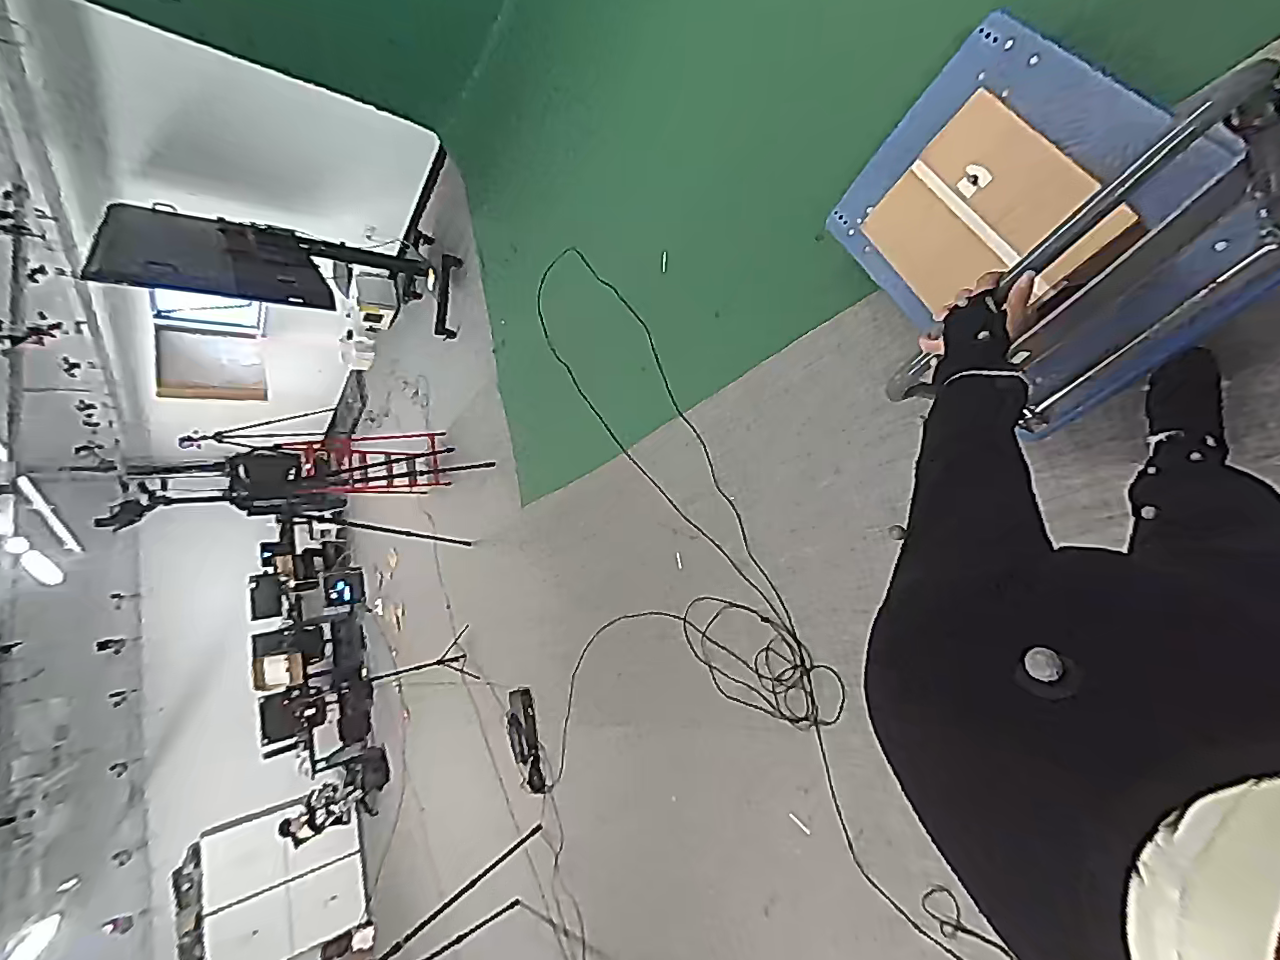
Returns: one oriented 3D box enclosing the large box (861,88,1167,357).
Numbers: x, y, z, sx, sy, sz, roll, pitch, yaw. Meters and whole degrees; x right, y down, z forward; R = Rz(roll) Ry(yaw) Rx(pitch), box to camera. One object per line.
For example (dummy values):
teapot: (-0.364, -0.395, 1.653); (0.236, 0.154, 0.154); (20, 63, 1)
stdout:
large box: (0.774, -0.520, 1.152); (0.320, 0.320, 0.408); (-48, 56, 41)
